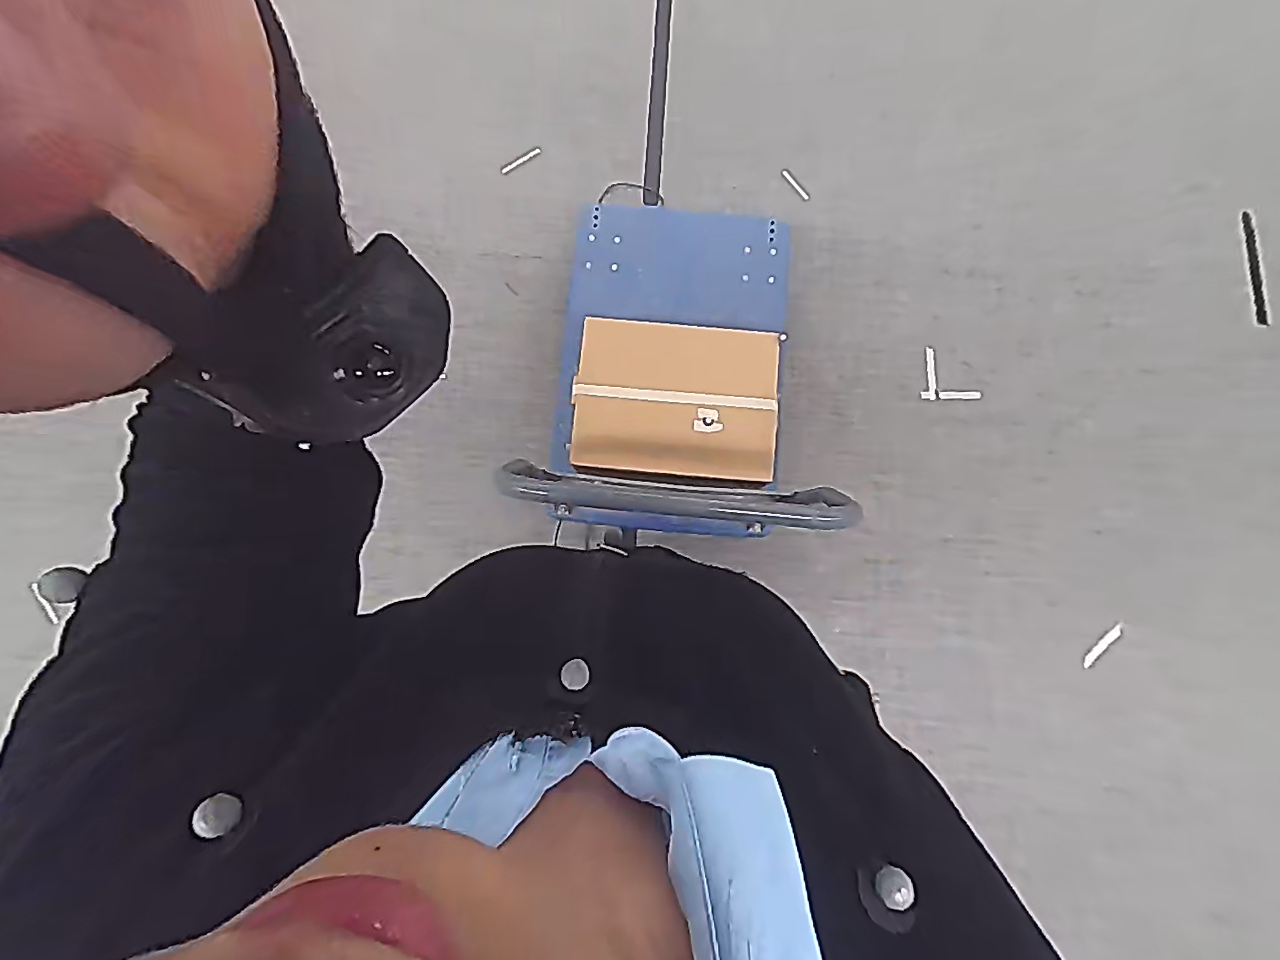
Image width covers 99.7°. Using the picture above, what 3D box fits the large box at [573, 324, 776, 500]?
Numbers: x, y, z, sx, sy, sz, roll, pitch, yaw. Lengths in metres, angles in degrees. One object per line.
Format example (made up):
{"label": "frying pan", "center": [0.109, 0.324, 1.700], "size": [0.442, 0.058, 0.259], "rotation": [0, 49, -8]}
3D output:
{"label": "large box", "center": [0.070, -0.136, 1.244], "size": [0.408, 0.320, 0.320], "rotation": [5, 82, 0]}
